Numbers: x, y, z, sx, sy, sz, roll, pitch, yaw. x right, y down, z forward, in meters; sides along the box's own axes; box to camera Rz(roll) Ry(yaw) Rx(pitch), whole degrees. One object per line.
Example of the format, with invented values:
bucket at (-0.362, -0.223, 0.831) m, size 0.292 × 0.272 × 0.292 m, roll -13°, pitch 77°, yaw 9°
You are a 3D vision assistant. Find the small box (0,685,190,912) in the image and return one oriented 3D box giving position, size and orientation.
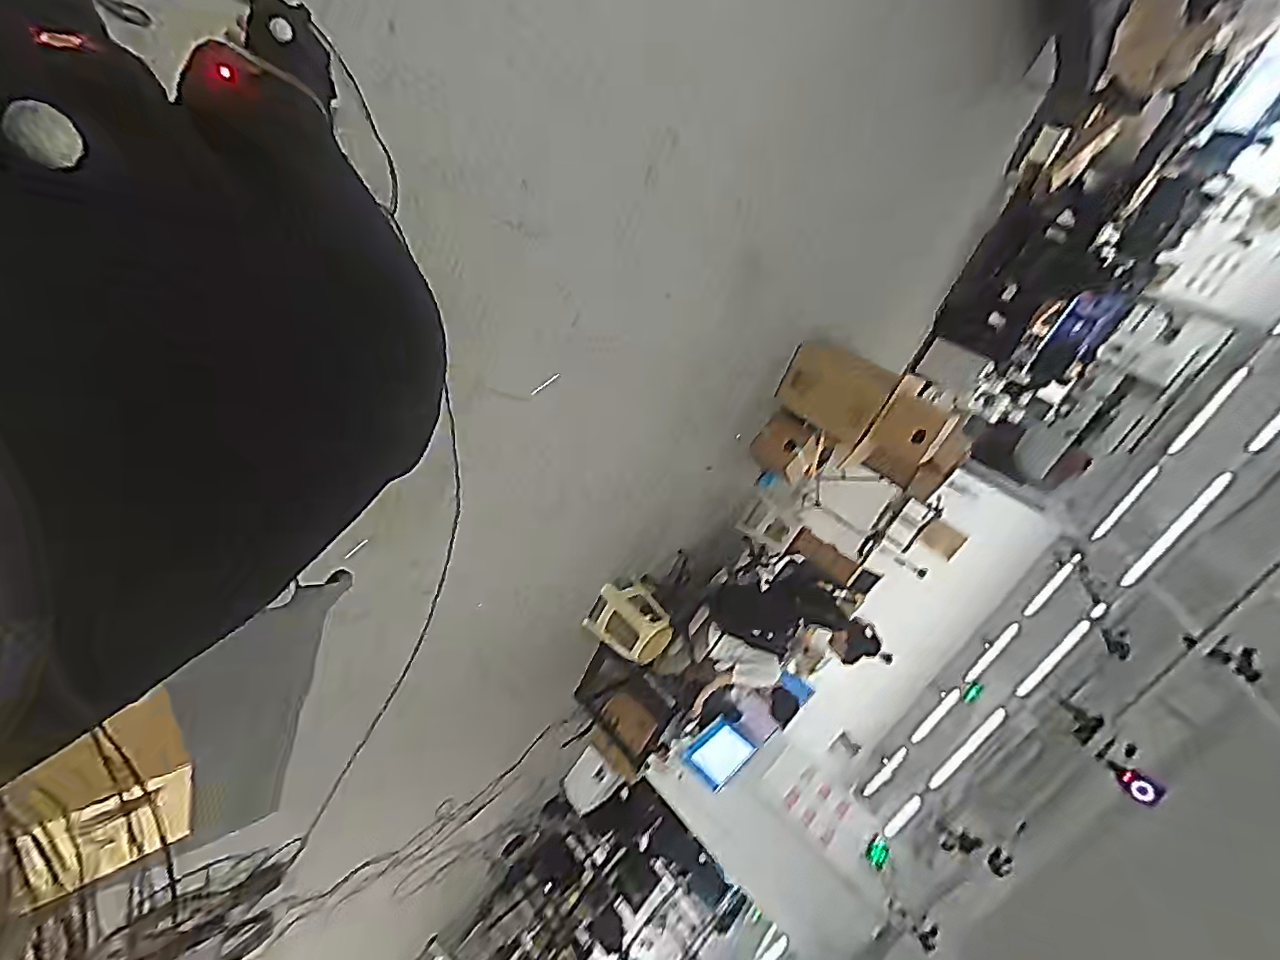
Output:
small box at (-0.728, 0.402, 0.719) m, size 0.168 × 0.176 × 0.179 m, roll -11°, pitch 134°, yaw -50°
